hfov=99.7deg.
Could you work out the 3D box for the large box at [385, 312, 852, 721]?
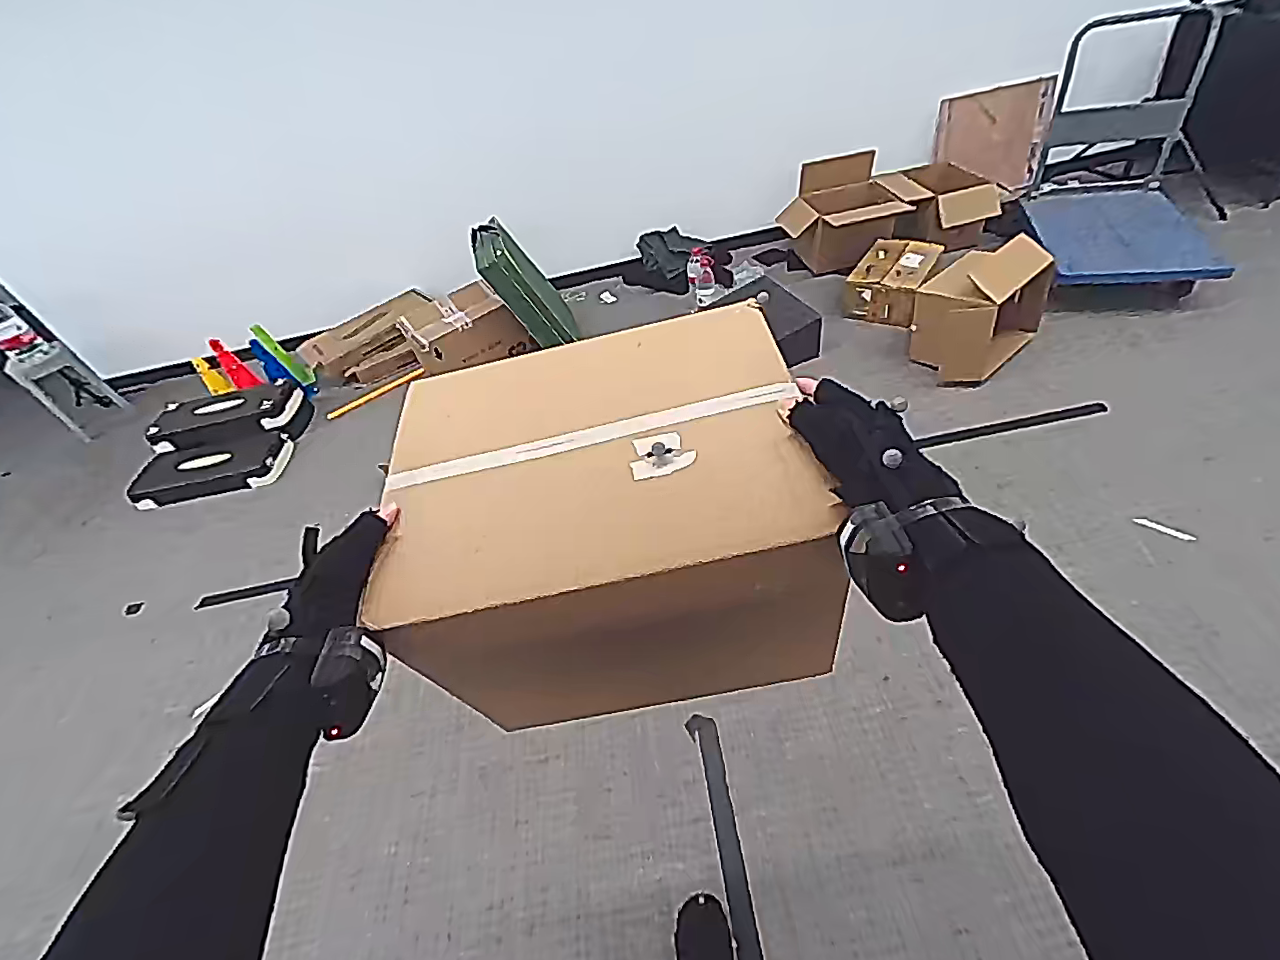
[{"bbox_3d":[-0.016,0.056,0.648,0.408,0.320,0.320,-12,51,3],"label":"large box"}]
